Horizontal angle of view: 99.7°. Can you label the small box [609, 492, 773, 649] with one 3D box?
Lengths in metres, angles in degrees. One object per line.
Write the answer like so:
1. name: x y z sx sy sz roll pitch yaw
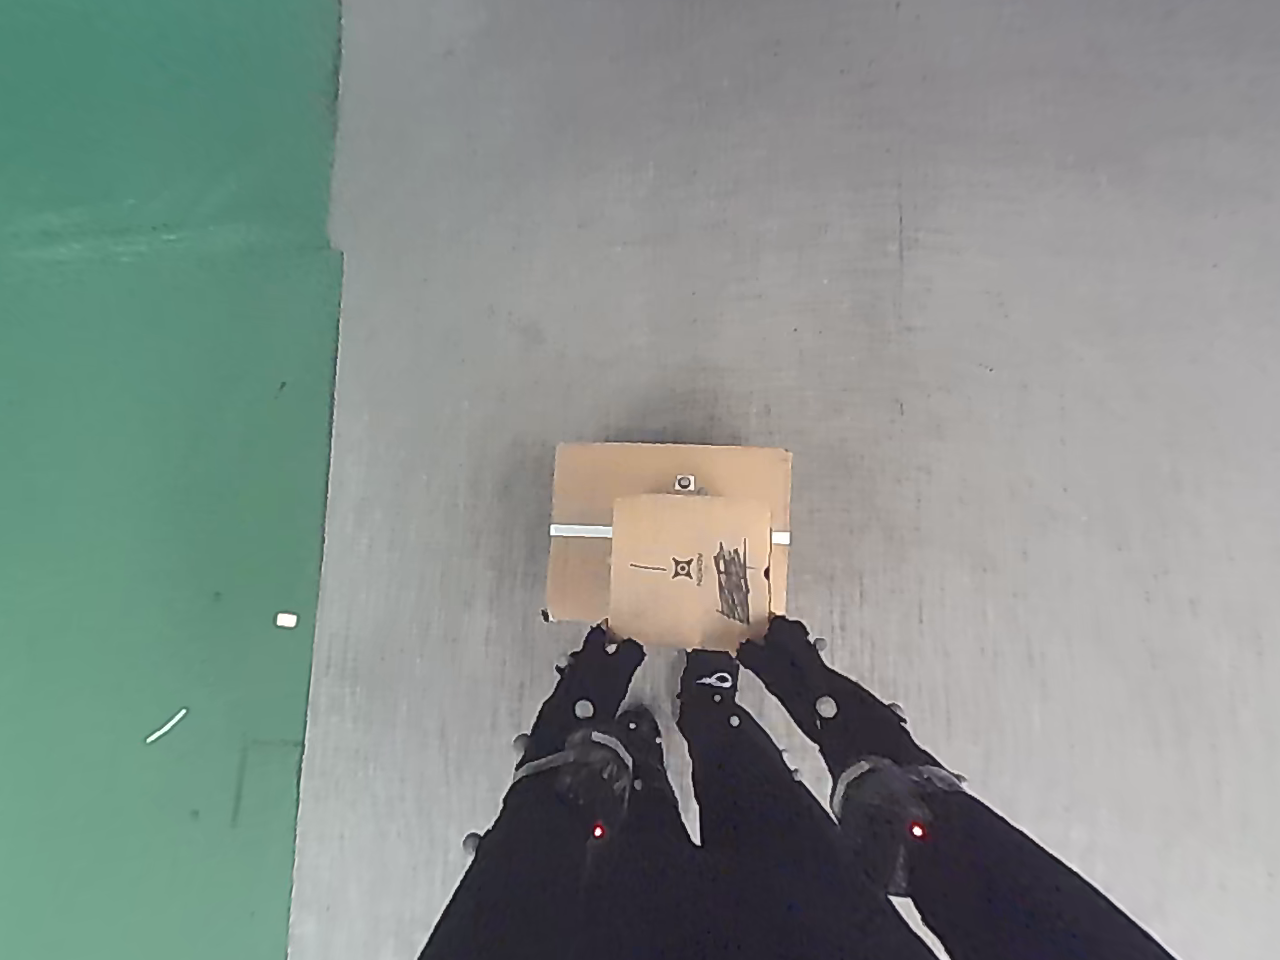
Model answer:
1. small box: 0.061 0.106 0.664 0.179 0.176 0.168 0 82 5
